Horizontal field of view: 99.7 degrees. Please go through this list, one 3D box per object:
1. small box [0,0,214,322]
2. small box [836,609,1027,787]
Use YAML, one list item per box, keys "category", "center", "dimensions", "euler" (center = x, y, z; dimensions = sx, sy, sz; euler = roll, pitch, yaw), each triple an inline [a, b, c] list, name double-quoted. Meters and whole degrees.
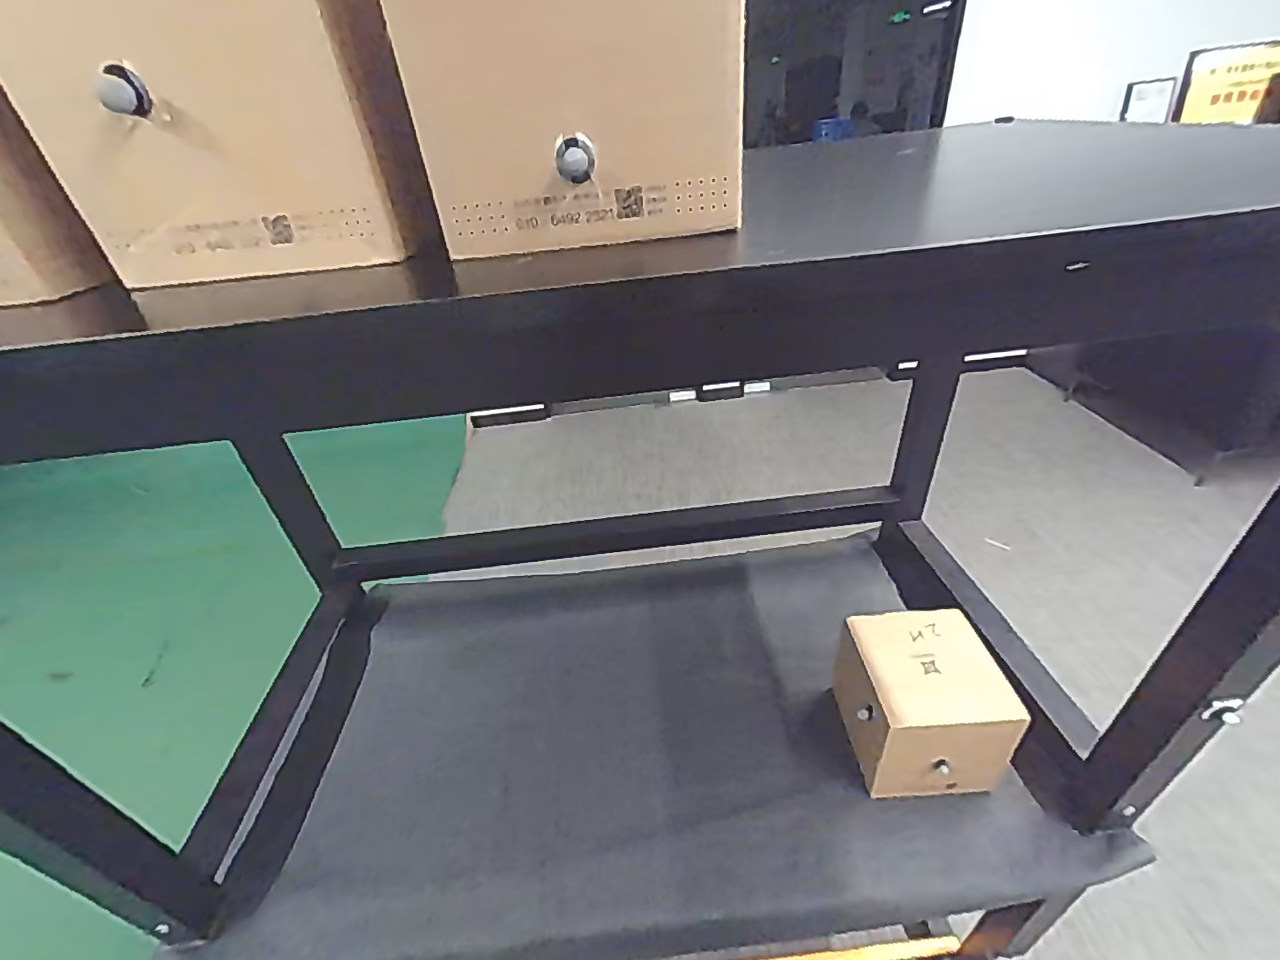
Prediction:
- category: "small box"
  center: [-0.423, -0.204, 0.340]
  dimensions: [0.168, 0.176, 0.179]
  euler: [-6, 35, 1]
- category: "small box"
  center: [0.386, 0.306, 0.754]
  dimensions: [0.168, 0.176, 0.179]
  euler: [-4, 34, 2]
